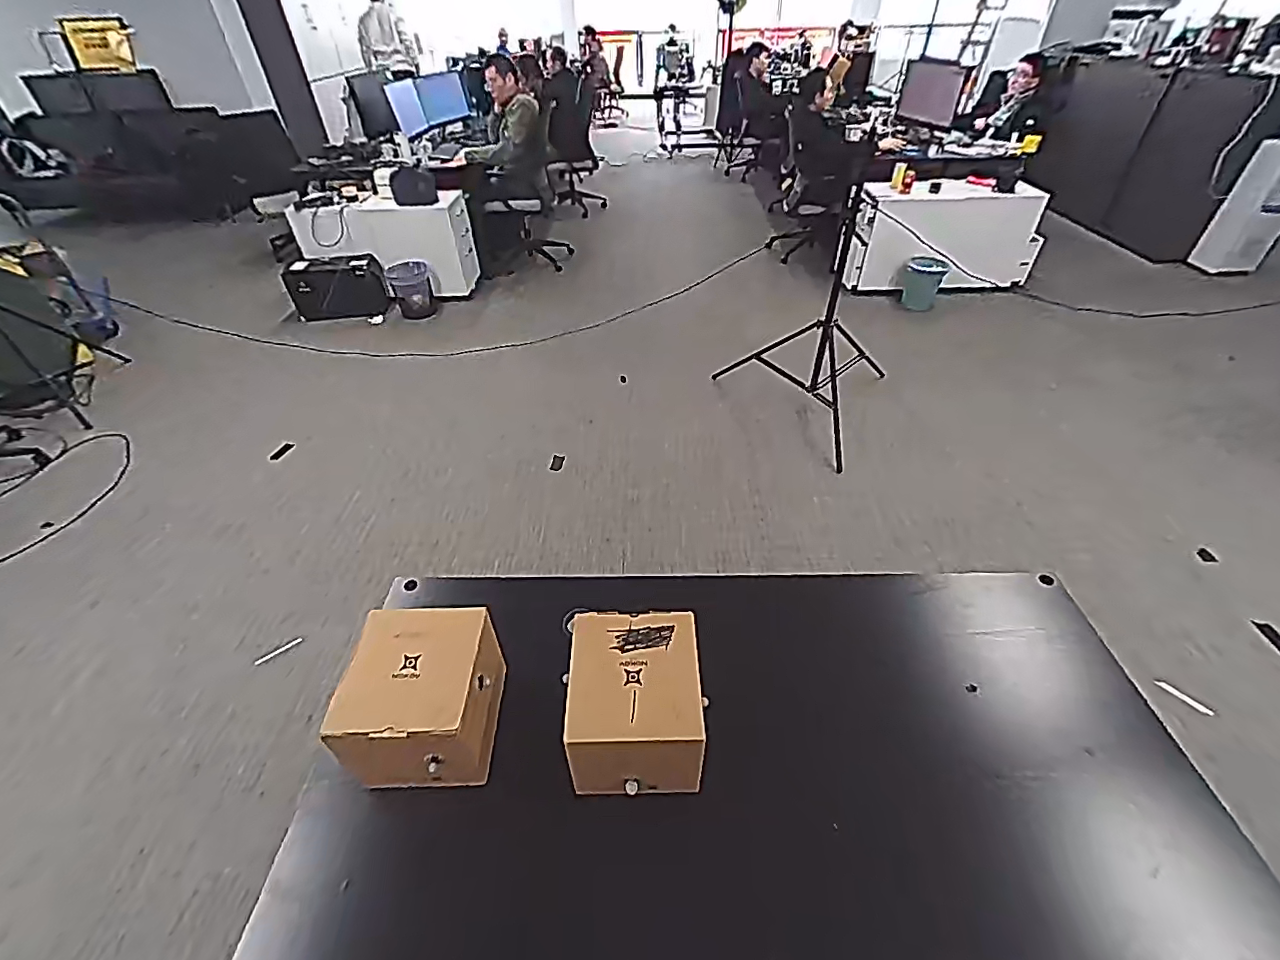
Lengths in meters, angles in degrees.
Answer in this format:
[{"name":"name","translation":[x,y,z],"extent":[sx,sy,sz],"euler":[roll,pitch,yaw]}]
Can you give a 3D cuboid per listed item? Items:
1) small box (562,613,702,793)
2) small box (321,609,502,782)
[{"name":"small box","translation":[-0.009,0.303,0.739],"extent":[0.168,0.176,0.179],"euler":[-1,42,0]},{"name":"small box","translation":[-0.296,0.302,0.749],"extent":[0.168,0.176,0.179],"euler":[-1,41,-2]}]
